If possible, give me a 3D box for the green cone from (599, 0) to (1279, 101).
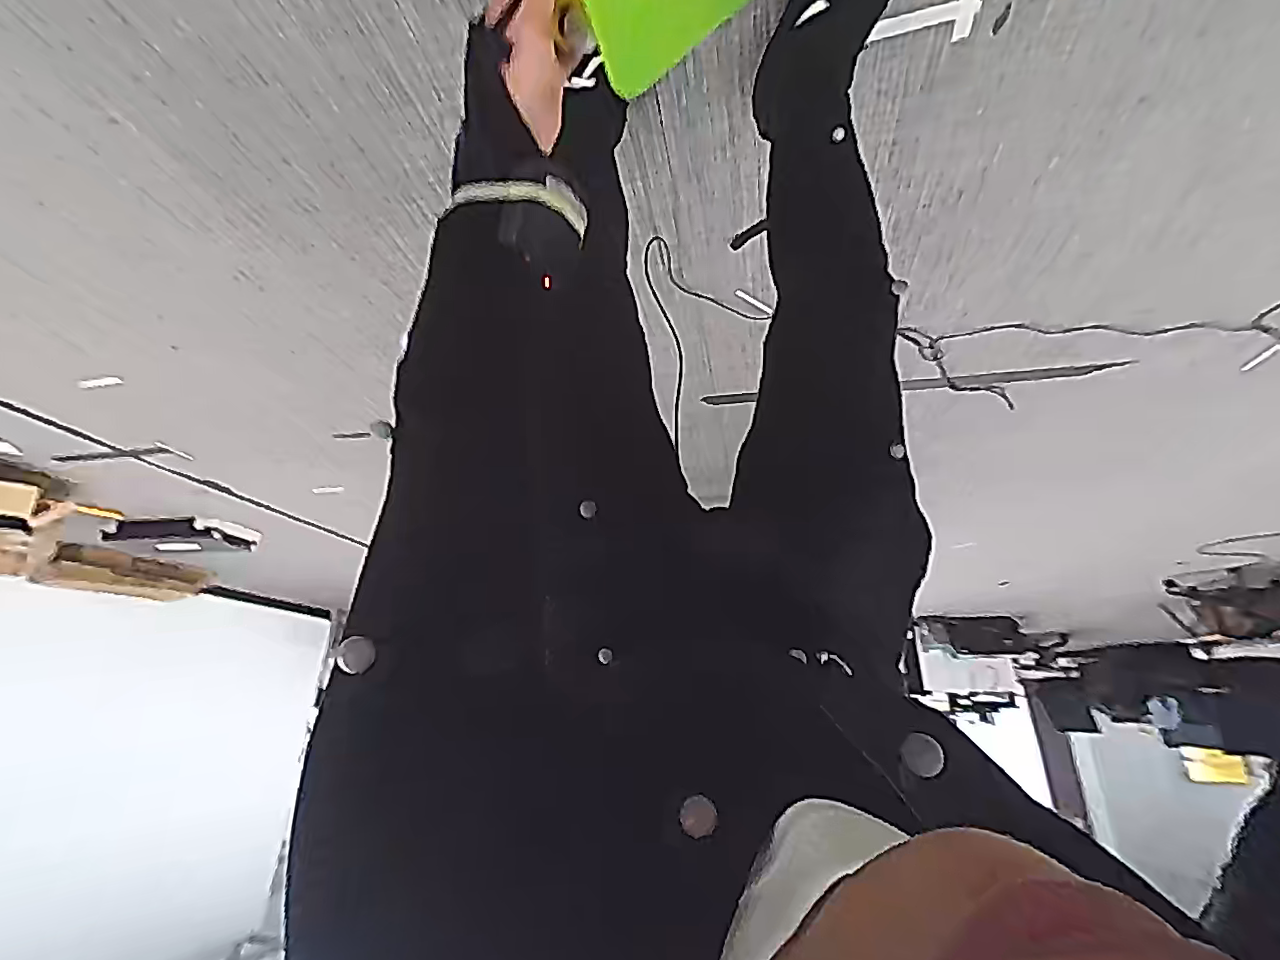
[{"bbox_3d":[0.146,-0.235,0.190,0.202,0.368,0.200,-43,151,-2],"label":"green cone"}]
